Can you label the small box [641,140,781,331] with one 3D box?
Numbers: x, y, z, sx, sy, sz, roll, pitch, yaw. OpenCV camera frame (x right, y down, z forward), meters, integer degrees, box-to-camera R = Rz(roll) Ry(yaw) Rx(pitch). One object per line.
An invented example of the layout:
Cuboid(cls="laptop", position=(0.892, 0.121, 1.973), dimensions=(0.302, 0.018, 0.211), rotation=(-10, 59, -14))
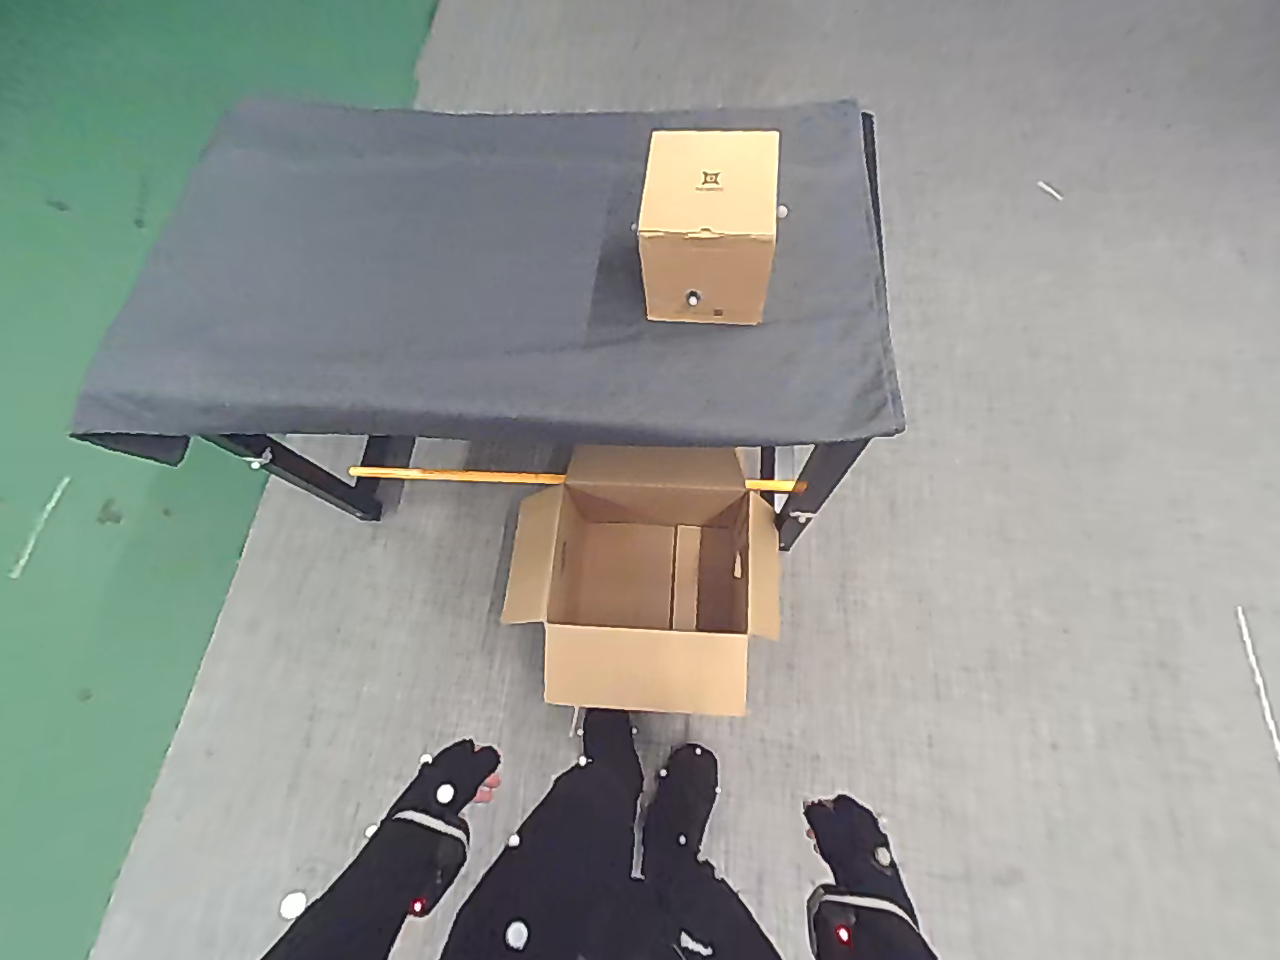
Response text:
Cuboid(cls="small box", position=(0.097, -0.332, 0.748), dimensions=(0.168, 0.176, 0.179), rotation=(4, 69, 7))
